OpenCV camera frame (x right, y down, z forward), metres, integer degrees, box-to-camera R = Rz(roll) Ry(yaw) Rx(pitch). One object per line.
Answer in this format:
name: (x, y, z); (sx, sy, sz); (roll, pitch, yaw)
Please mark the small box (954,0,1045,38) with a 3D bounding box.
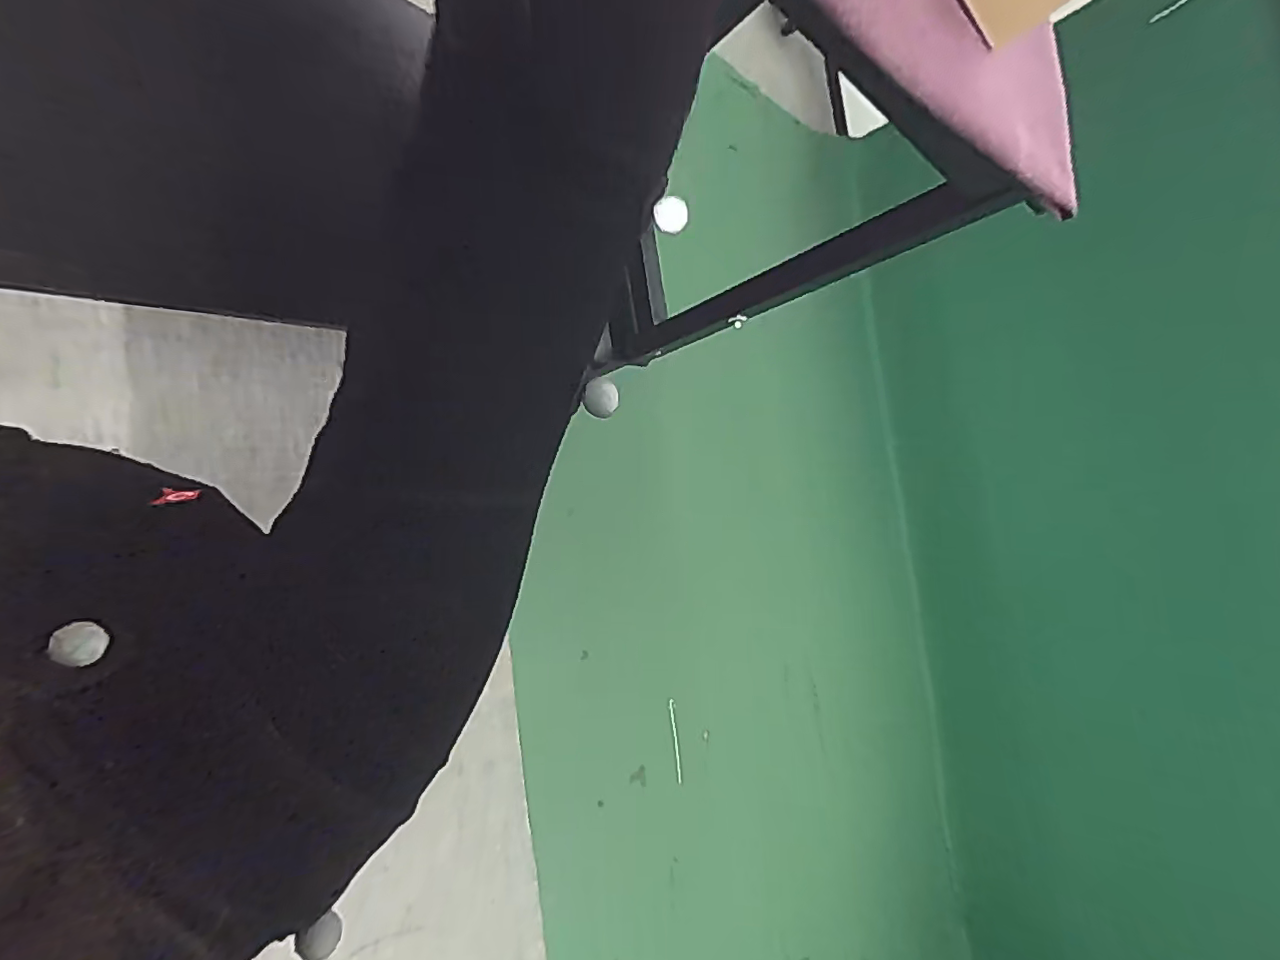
small box: (0.311, -0.505, 0.415); (0.179, 0.176, 0.168); (-2, 82, -44)
